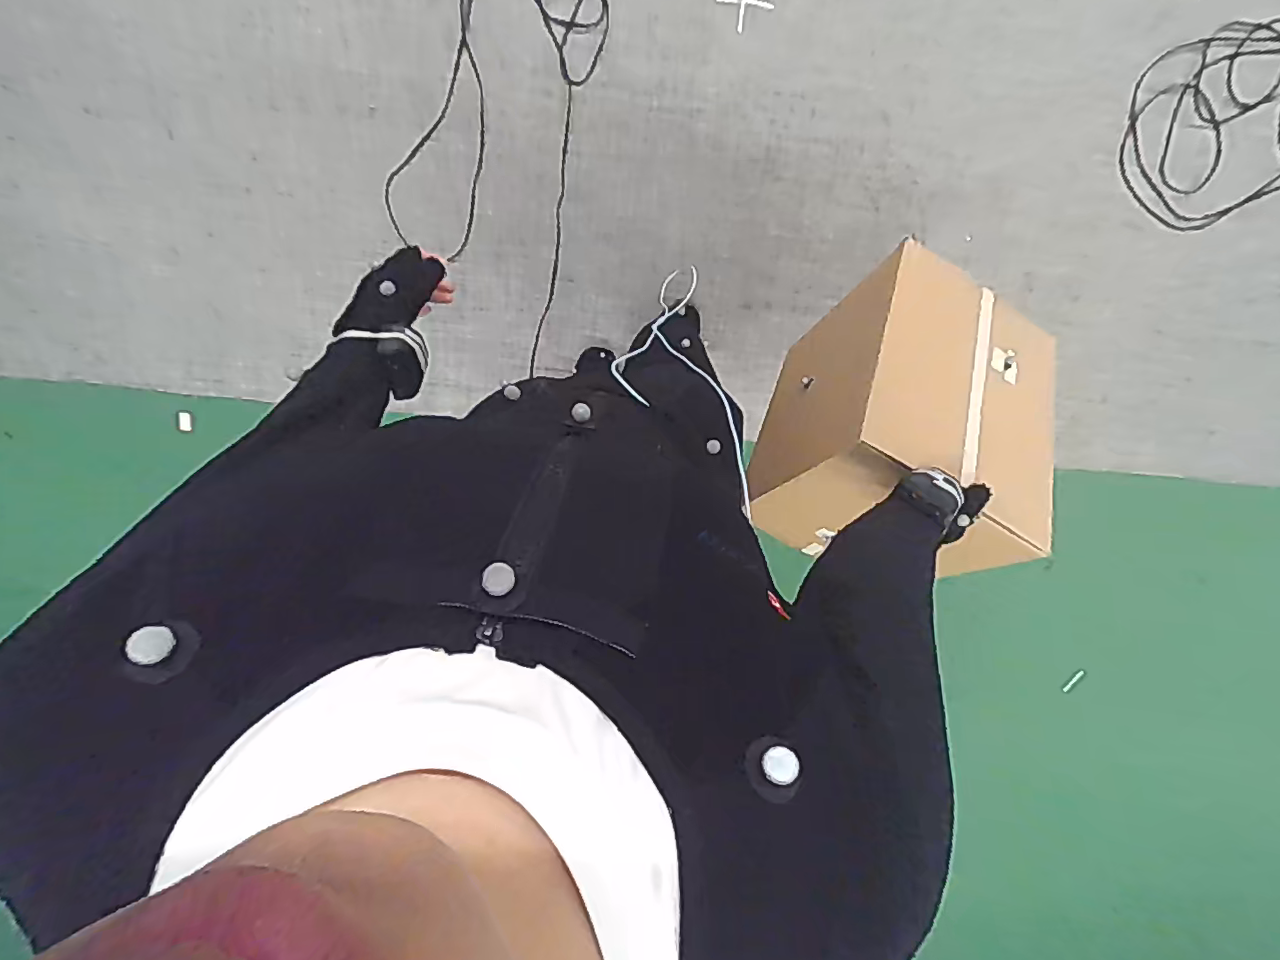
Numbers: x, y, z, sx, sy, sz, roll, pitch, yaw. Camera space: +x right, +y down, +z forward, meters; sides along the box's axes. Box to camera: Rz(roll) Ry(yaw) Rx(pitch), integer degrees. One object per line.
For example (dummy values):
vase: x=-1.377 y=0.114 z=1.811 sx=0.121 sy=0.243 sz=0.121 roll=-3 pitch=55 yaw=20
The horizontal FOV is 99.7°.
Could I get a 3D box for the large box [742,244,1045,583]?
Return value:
large box: x=0.418 y=-0.089 z=0.912 sx=0.320 sy=0.320 sz=0.408 roll=29 pitch=63 yaw=-10
